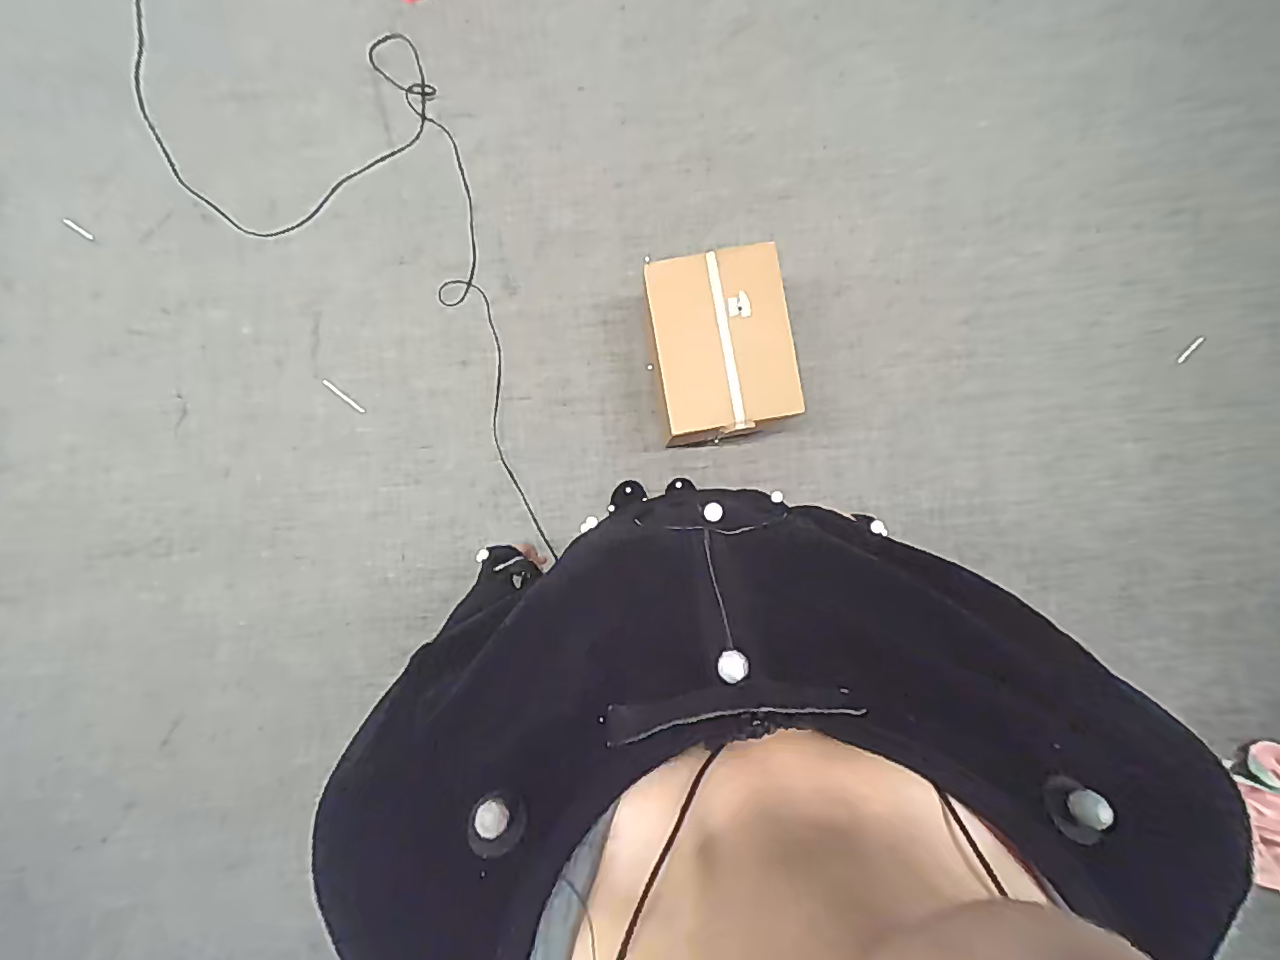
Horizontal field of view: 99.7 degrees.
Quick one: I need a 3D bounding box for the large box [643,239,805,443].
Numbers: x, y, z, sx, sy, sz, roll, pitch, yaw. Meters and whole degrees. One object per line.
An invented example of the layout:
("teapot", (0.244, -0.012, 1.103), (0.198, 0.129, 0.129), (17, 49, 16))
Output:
("large box", (0.193, -0.330, 1.384), (0.320, 0.320, 0.408), (-10, 88, -1))
